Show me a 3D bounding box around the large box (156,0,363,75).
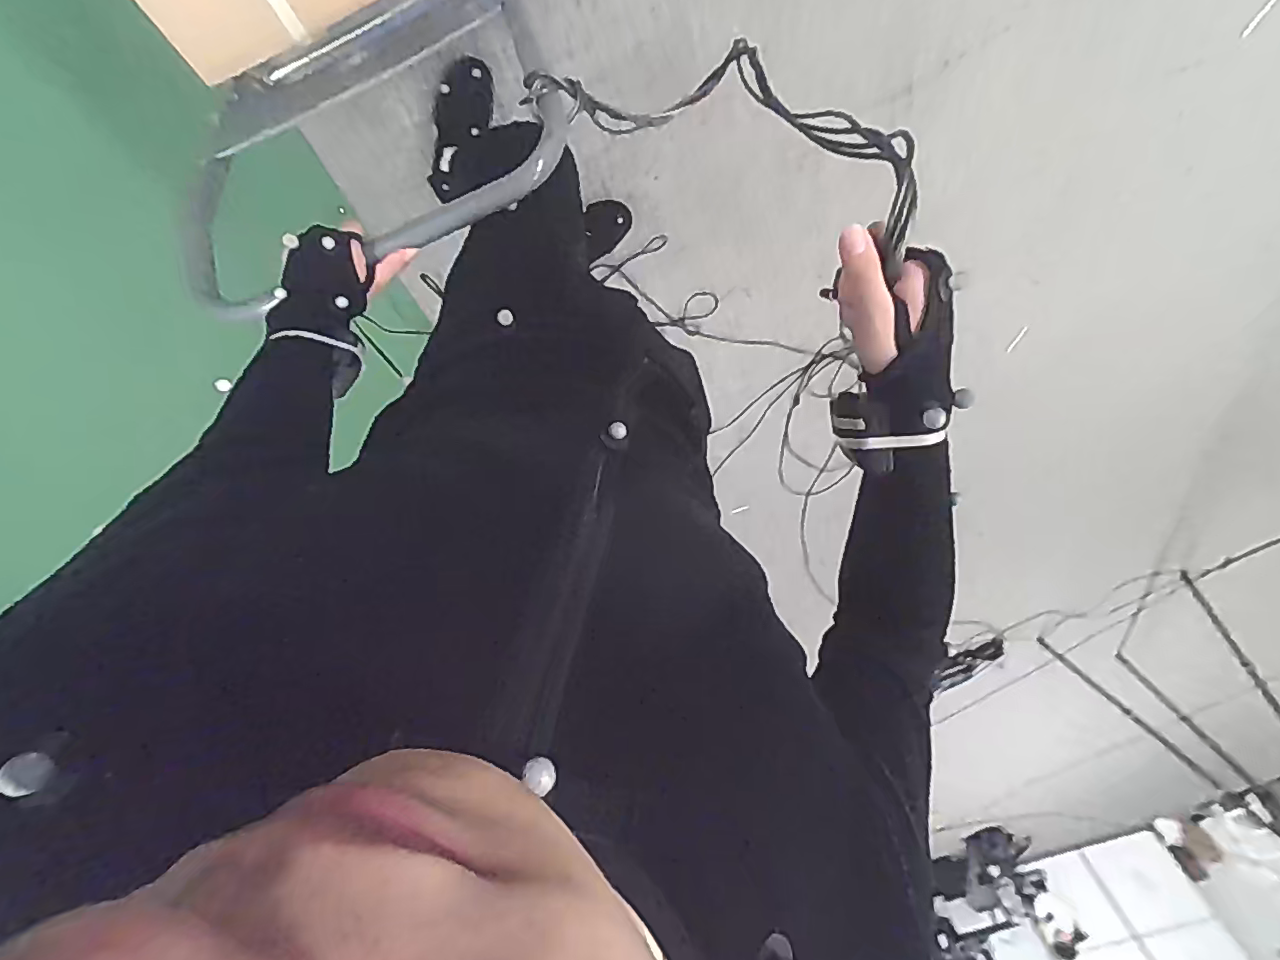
[{"bbox_3d":[-0.538,-0.835,0.669,0.320,0.320,0.408,-21,144,7],"label":"large box"}]
